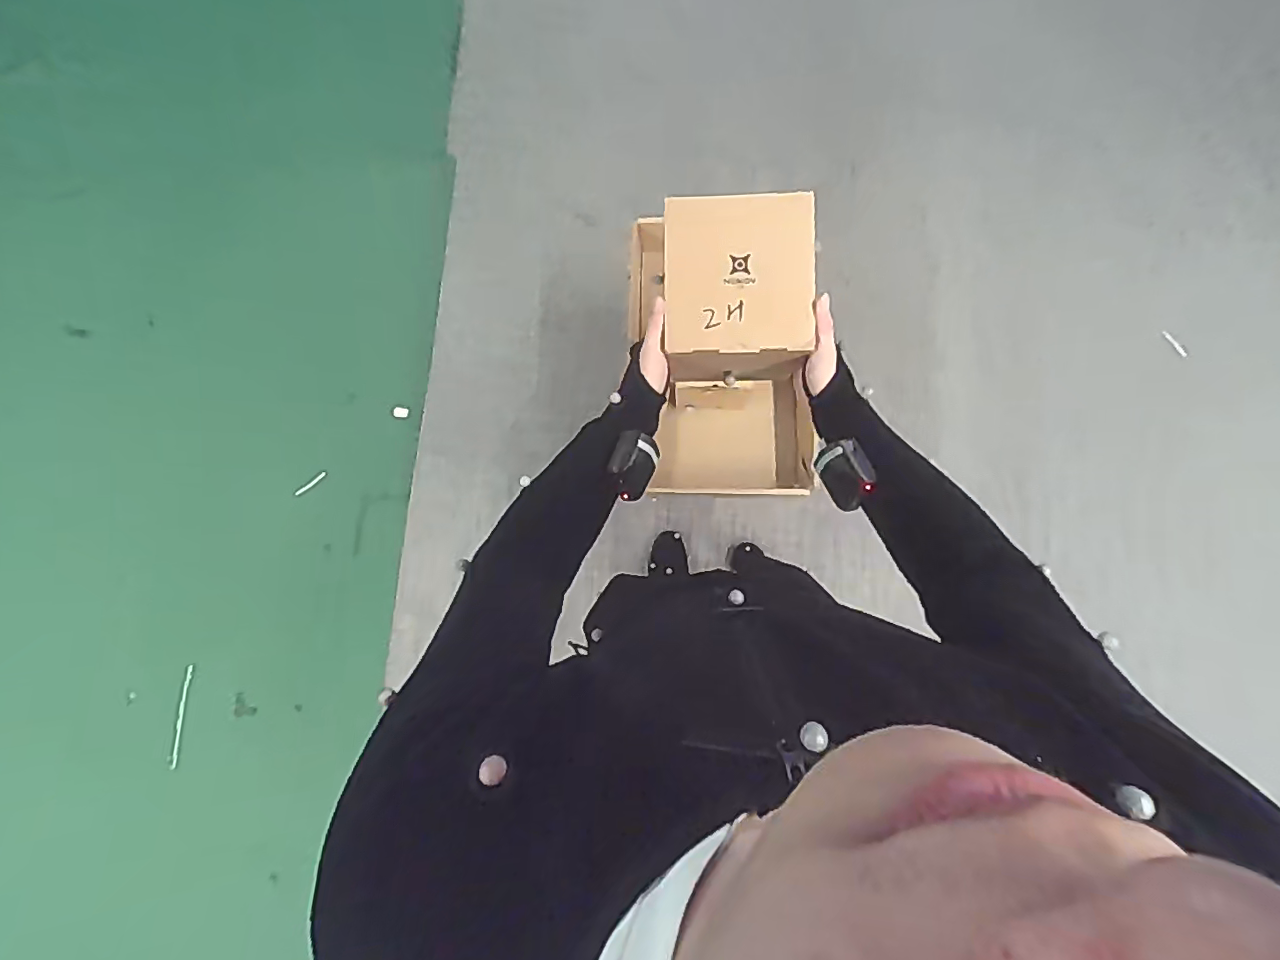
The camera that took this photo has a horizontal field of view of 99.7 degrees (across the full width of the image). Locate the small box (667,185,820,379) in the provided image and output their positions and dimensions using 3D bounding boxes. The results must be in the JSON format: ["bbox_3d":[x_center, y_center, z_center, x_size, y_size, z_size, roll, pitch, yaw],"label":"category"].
[{"bbox_3d":[0.116,-0.229,0.664,0.168,0.176,0.179,0,89,4],"label":"small box"}]

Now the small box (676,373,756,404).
[{"bbox_3d":[0.166,-0.271,1.189,0.168,0.176,0.179,2,82,4],"label":"small box"}]
